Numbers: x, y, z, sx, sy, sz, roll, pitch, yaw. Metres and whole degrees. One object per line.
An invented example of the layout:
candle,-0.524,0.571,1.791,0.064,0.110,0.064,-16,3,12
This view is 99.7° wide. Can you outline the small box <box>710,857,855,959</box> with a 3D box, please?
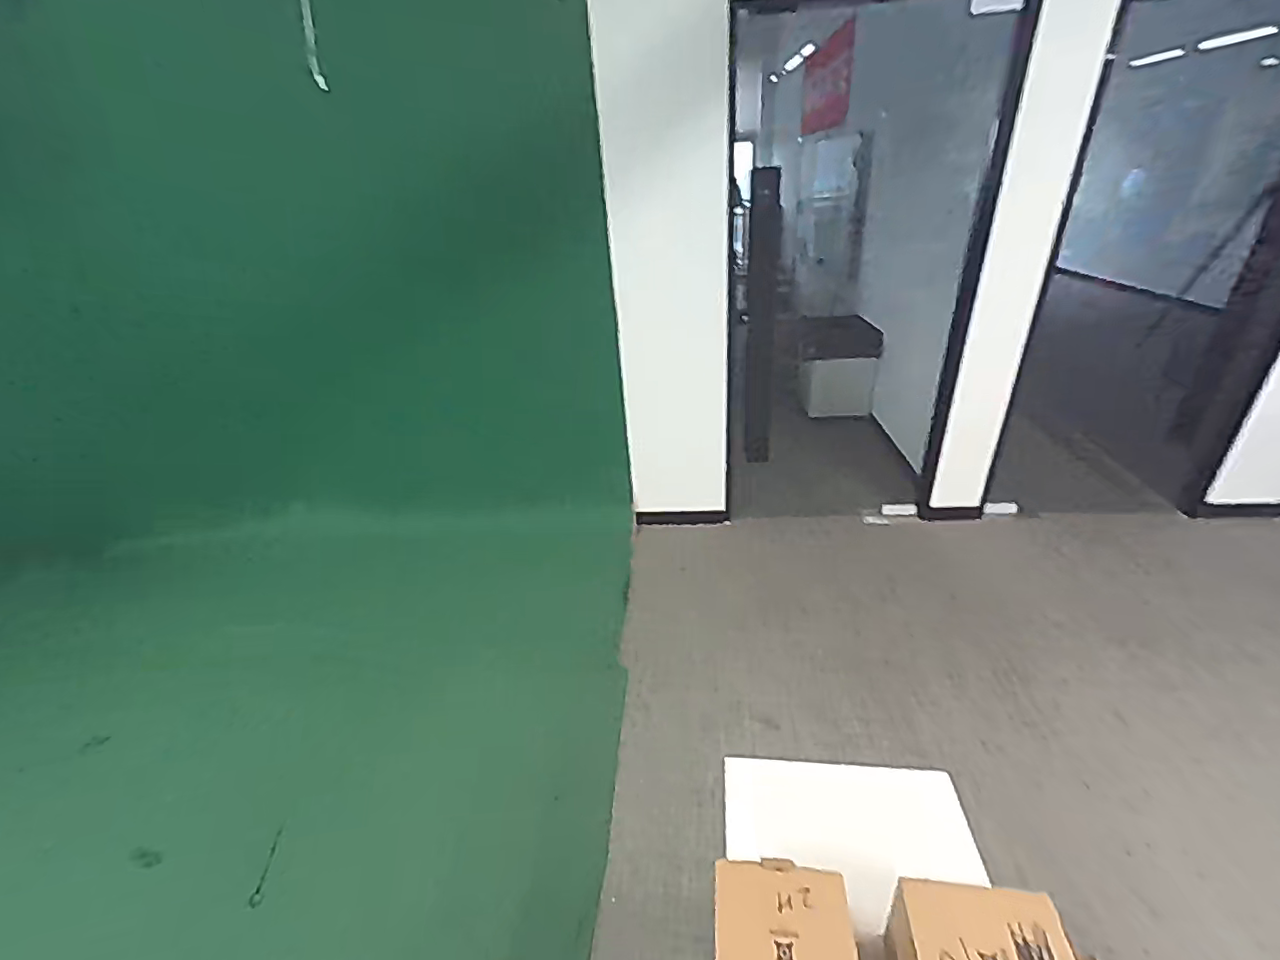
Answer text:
small box,0.172,0.620,0.677,0.168,0.176,0.179,3,30,8
